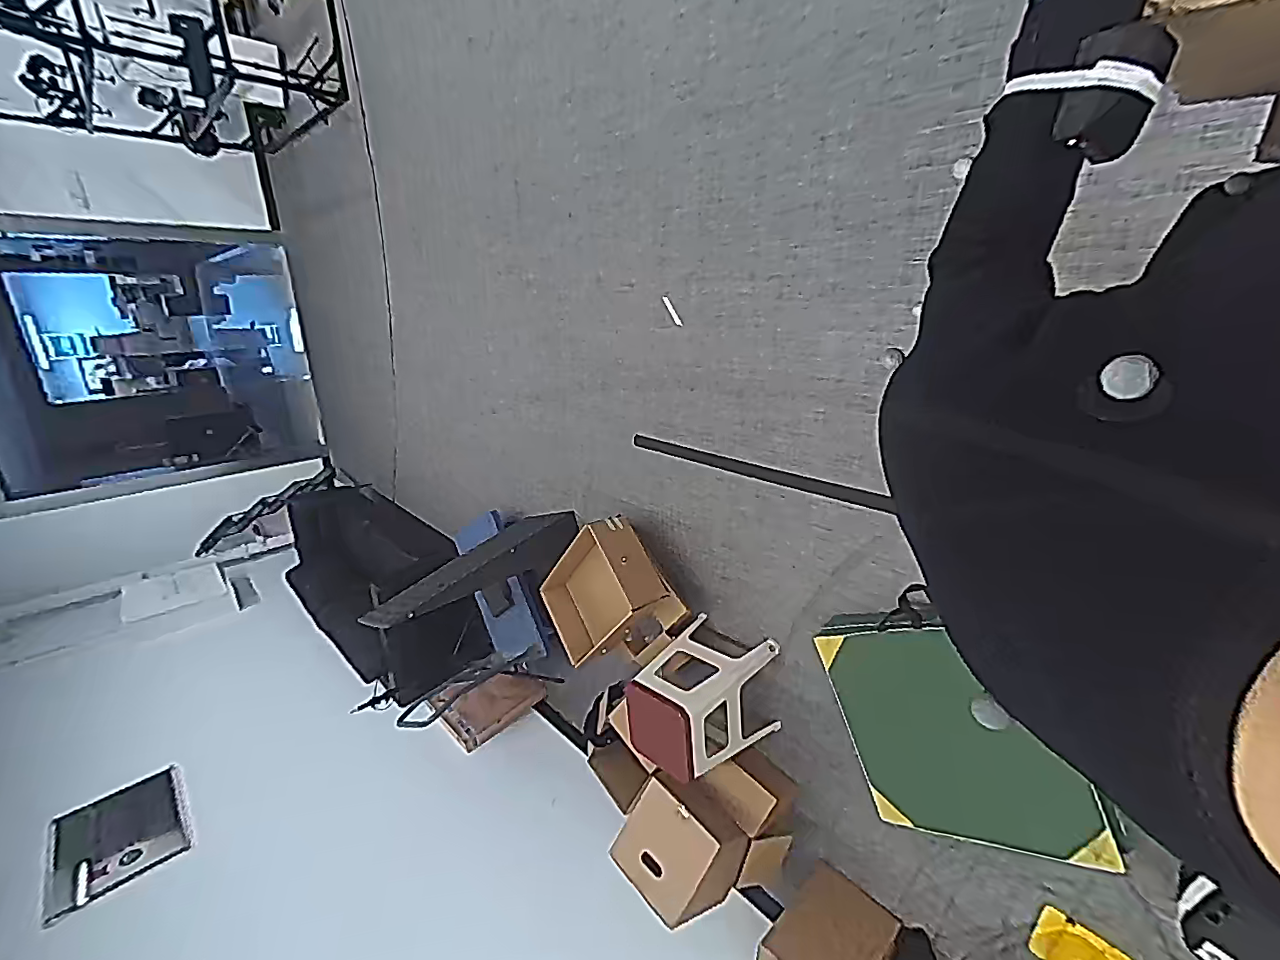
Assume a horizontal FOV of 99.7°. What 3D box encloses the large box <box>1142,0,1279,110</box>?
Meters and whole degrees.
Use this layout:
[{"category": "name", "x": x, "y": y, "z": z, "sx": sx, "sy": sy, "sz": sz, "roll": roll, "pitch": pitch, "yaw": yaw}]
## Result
[{"category": "large box", "x": 0.583, "y": -0.430, "z": 0.277, "sx": 0.408, "sy": 0.320, "sz": 0.320, "roll": 23, "pitch": 122, "yaw": 41}]
